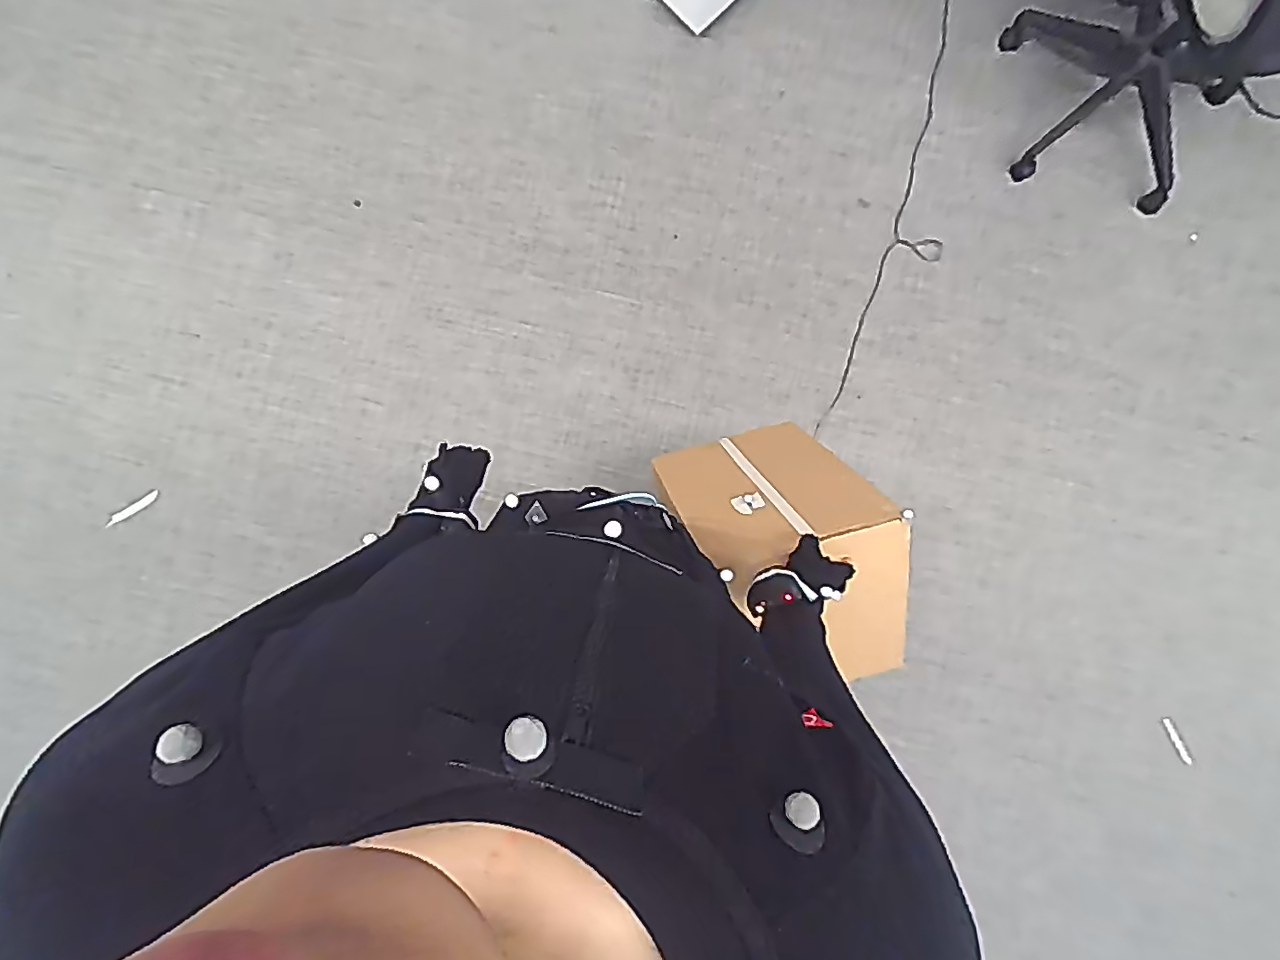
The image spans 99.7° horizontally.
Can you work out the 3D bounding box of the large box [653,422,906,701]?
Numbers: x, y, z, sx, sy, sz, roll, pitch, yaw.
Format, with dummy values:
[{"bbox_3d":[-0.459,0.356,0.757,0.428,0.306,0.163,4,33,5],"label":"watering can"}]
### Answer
[{"bbox_3d":[0.236,0.130,1.034,0.320,0.408,0.320,-15,120,-4],"label":"large box"}]
